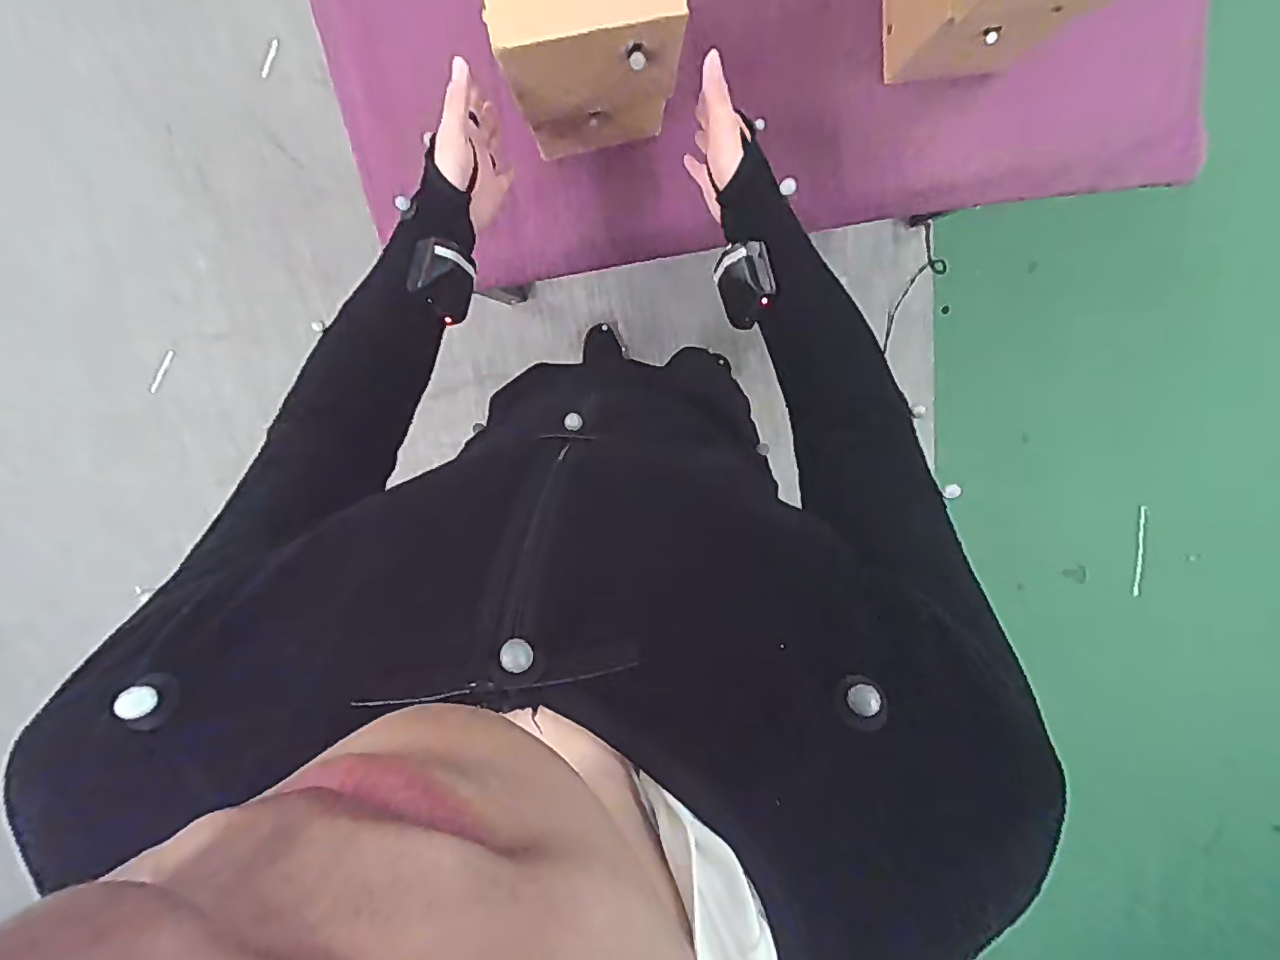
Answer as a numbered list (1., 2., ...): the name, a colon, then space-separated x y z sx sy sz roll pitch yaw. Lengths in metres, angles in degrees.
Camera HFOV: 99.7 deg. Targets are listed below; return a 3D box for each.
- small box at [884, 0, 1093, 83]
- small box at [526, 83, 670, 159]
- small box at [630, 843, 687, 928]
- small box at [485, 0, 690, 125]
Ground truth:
1. small box: 0.423 -0.629 0.673 0.179 0.176 0.168 -7 104 0
2. small box: -0.067 -0.535 0.686 0.179 0.176 0.168 -11 105 2
3. small box: 0.061 1.419 1.903 0.179 0.176 0.168 -8 104 0
4. small box: -0.057 -0.481 0.529 0.179 0.176 0.168 -10 104 1
